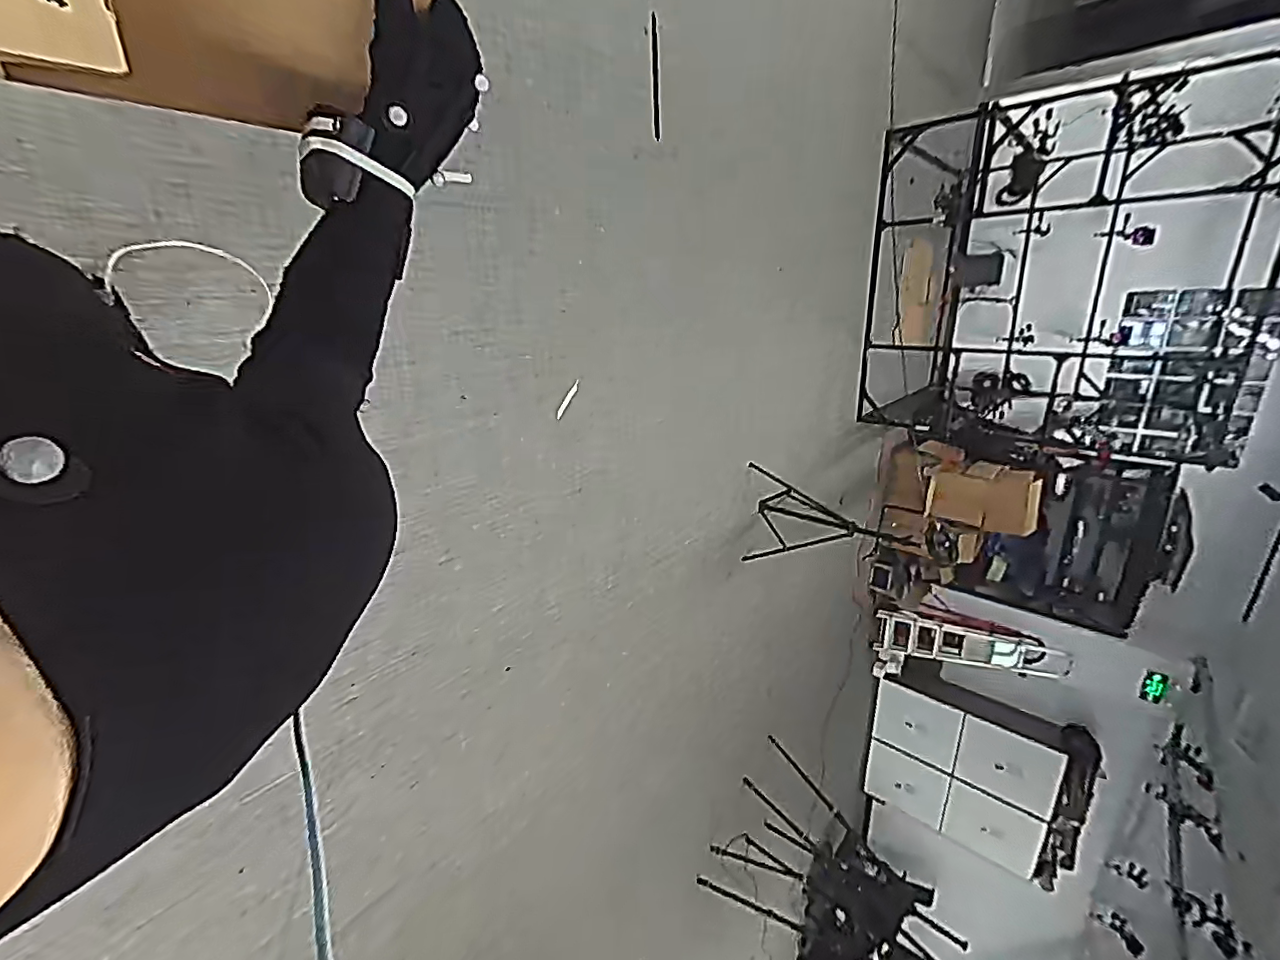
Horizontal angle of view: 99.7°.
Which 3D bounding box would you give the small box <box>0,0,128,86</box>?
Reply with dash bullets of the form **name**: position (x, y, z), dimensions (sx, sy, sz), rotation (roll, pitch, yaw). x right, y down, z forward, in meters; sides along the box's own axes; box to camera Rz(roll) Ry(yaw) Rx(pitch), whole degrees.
- **small box**: position (-0.414, -0.309, 0.254), dimensions (0.179, 0.176, 0.168), rotation (-39, 144, -54)
